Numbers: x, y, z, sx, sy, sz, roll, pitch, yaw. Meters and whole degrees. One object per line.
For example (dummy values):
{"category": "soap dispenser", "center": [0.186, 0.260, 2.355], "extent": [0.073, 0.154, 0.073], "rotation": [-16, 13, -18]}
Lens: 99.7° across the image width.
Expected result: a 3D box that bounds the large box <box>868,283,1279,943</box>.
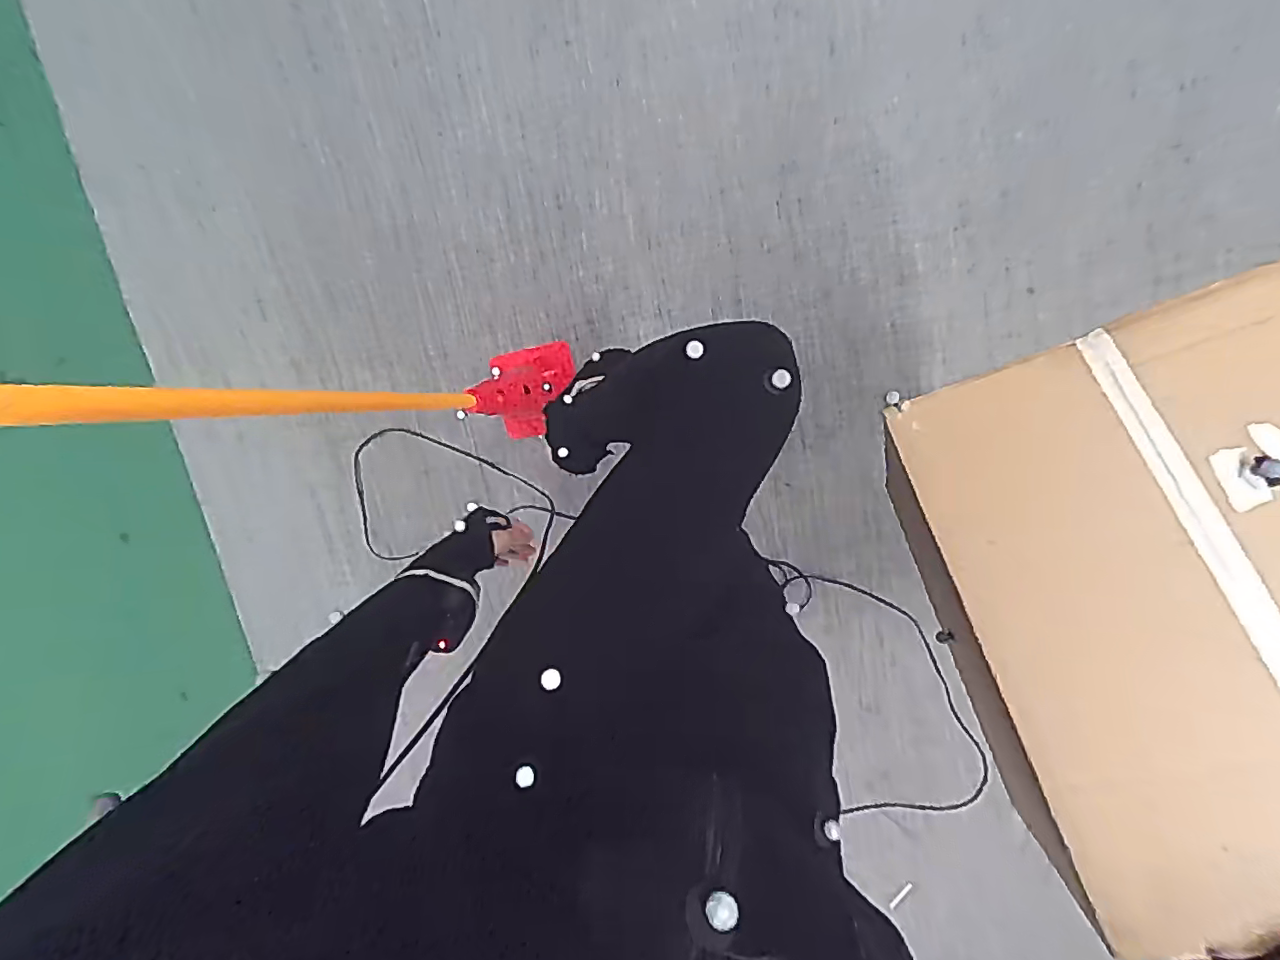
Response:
{"category": "large box", "center": [0.449, 0.117, 0.511], "extent": [0.320, 0.320, 0.408], "rotation": [-19, 69, 19]}
